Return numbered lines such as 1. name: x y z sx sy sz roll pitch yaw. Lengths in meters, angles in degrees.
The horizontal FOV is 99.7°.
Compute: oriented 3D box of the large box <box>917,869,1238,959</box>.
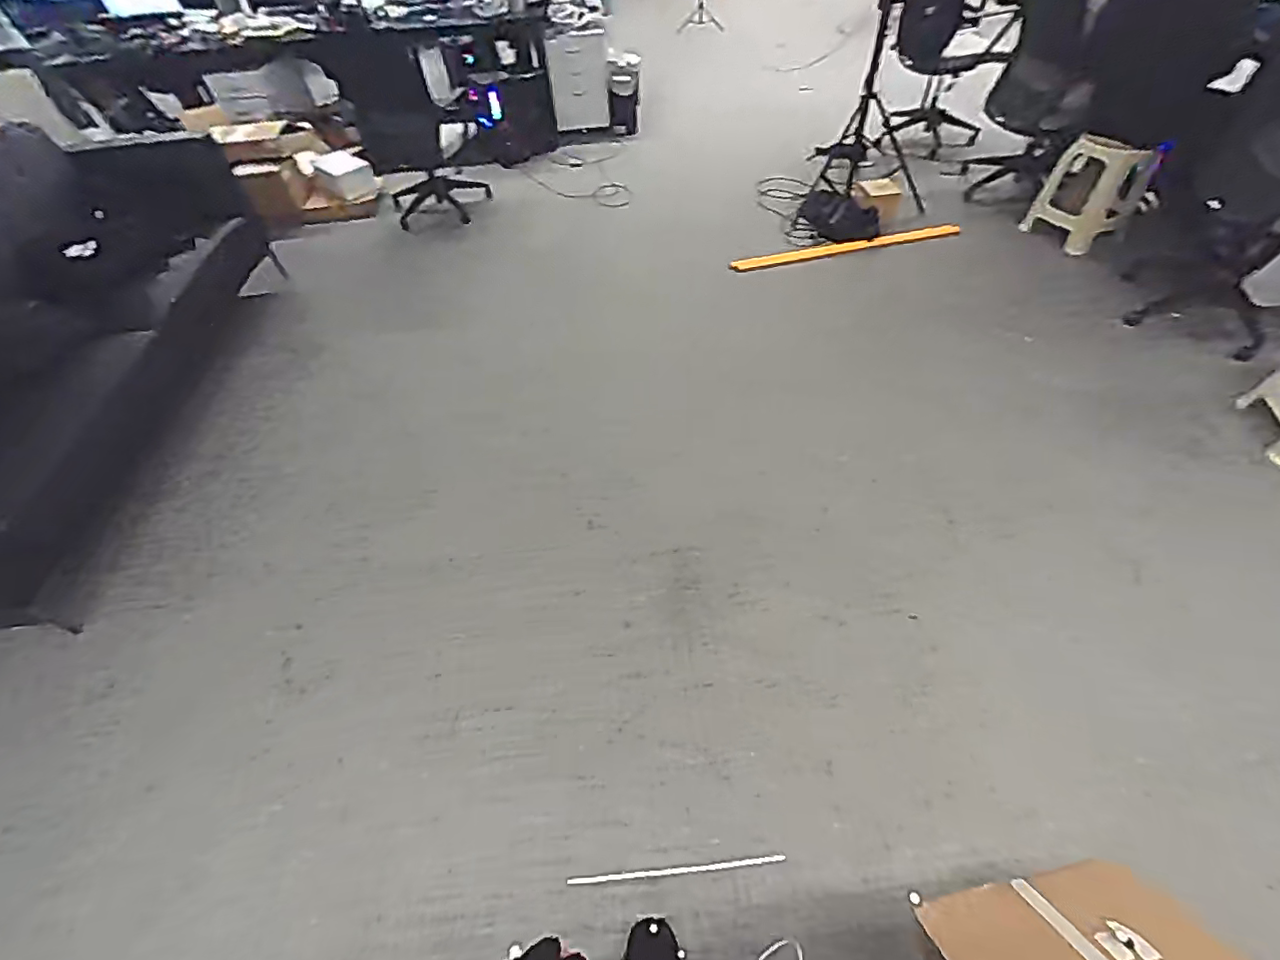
1. large box: 0.590 0.740 0.584 0.320 0.408 0.320 -13 87 -2
